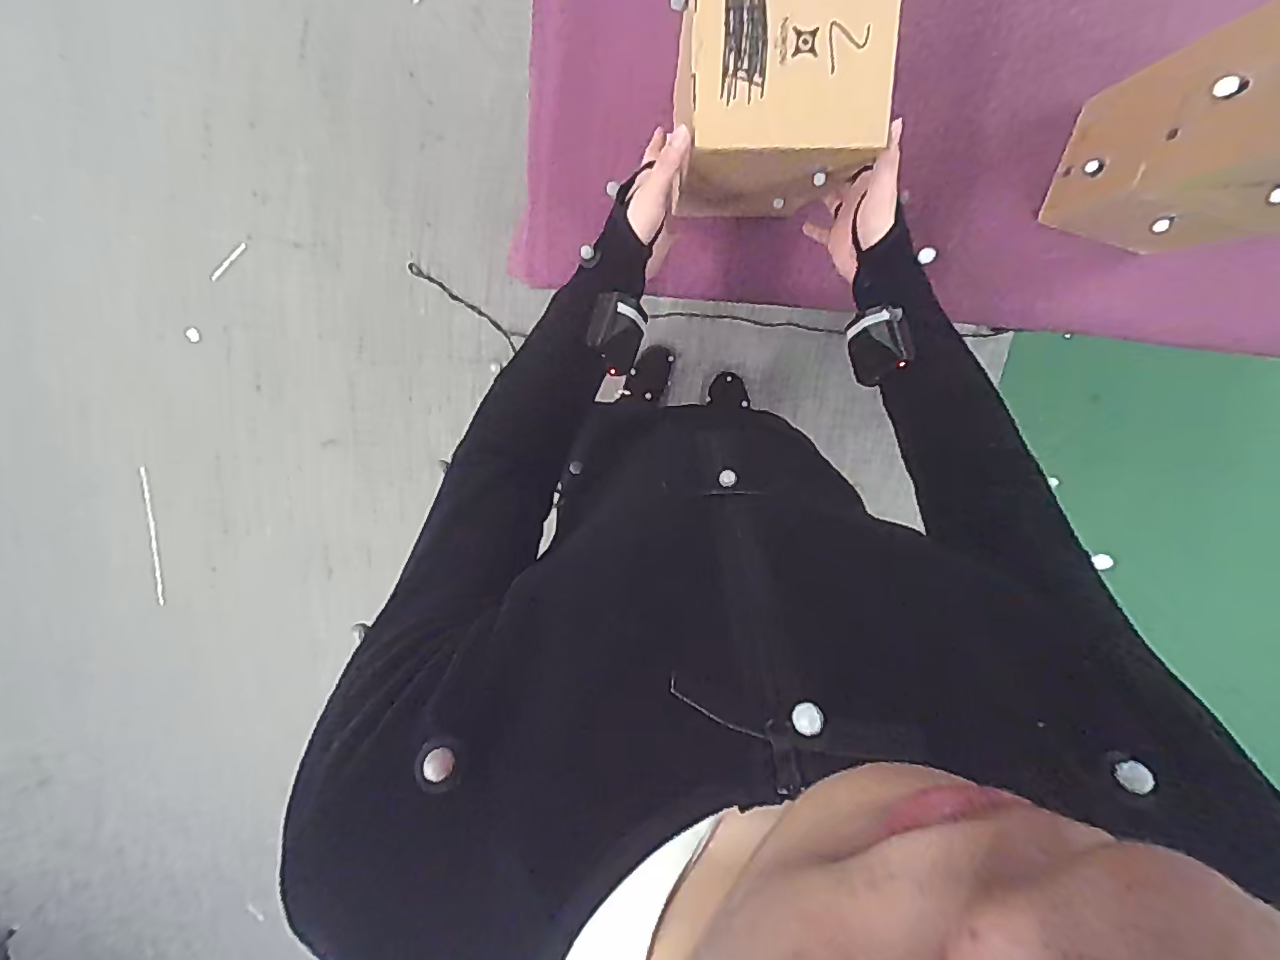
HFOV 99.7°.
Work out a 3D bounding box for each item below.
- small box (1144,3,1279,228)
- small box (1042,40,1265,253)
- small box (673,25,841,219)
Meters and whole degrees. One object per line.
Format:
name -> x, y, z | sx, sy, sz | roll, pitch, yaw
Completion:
small box -> 0.679, -0.368, 0.540 | 0.179, 0.176, 0.168 | 13, 105, -2
small box -> 0.680, -0.409, 0.698 | 0.179, 0.176, 0.168 | 15, 104, -4
small box -> 0.136, -0.442, 0.693 | 0.179, 0.176, 0.168 | 0, 104, 1
